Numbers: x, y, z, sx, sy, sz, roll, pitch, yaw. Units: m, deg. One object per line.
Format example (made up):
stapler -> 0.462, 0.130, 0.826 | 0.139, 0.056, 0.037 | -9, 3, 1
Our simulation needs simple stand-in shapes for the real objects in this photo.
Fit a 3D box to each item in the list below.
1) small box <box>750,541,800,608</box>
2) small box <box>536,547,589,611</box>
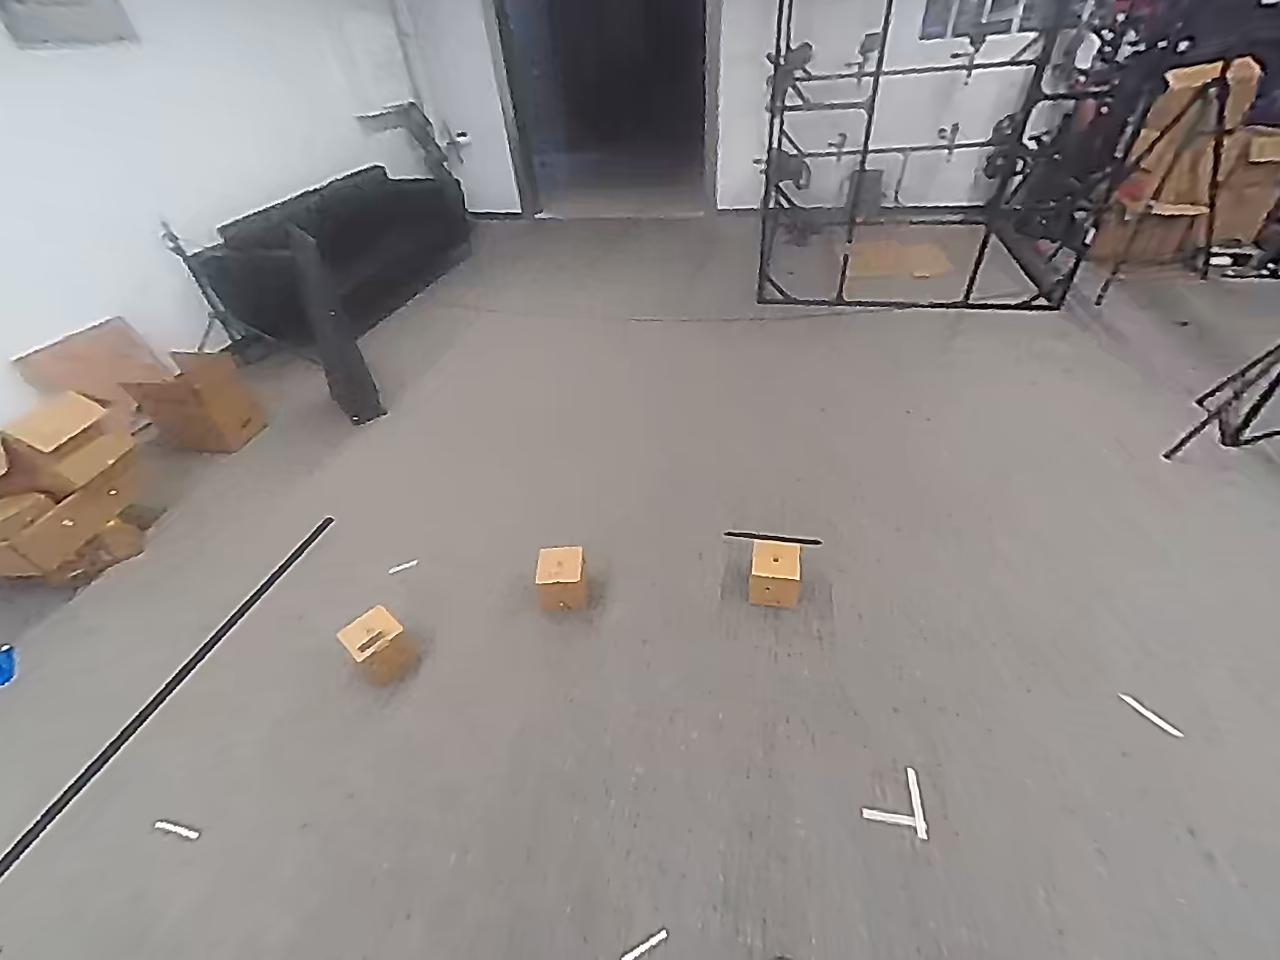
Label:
small box -> 0.497, 0.351, 1.993 | 0.168, 0.176, 0.179 | 4, 40, 12
small box -> -0.287, 0.374, 2.046 | 0.168, 0.176, 0.179 | -4, 40, 2
